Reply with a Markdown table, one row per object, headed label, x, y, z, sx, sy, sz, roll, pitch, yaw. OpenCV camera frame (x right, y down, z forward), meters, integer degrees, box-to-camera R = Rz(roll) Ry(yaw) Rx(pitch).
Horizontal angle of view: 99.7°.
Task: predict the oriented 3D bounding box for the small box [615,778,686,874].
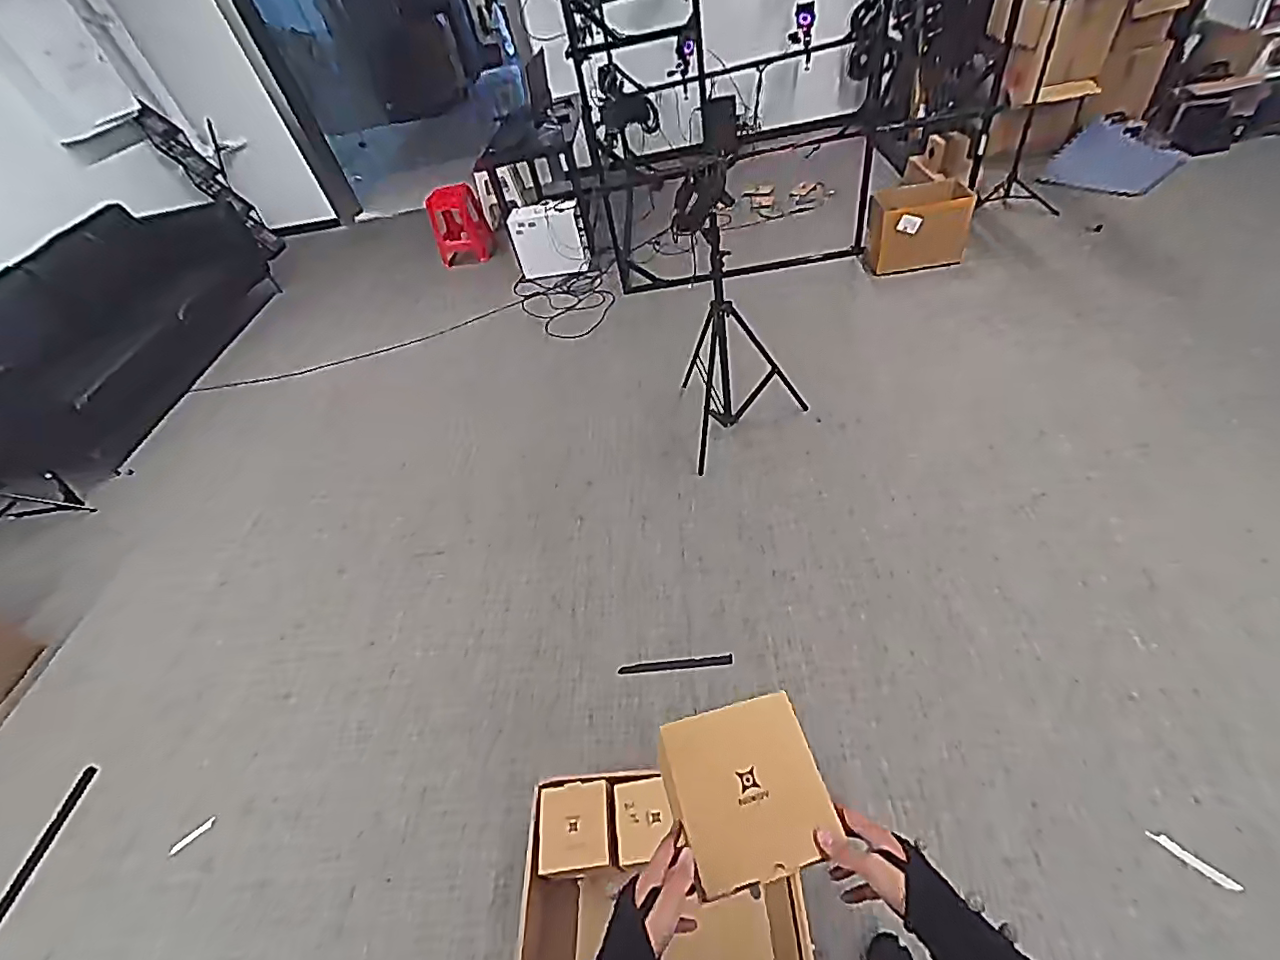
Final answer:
| label | x | y | z | sx | sy | sz | roll | pitch | yaw |
| --- | --- | --- | --- | --- | --- | --- | --- | --- | --- |
| small box | 0.045 | 0.832 | 1.302 | 0.179 | 0.176 | 0.168 | -11 | 47 | 3 |

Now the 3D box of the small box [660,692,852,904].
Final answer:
| label | x | y | z | sx | sy | sz | roll | pitch | yaw |
| --- | --- | --- | --- | --- | --- | --- | --- | --- | --- |
| small box | 0.123 | 0.391 | 0.664 | 0.168 | 0.176 | 0.179 | -13 | 53 | -8 |
